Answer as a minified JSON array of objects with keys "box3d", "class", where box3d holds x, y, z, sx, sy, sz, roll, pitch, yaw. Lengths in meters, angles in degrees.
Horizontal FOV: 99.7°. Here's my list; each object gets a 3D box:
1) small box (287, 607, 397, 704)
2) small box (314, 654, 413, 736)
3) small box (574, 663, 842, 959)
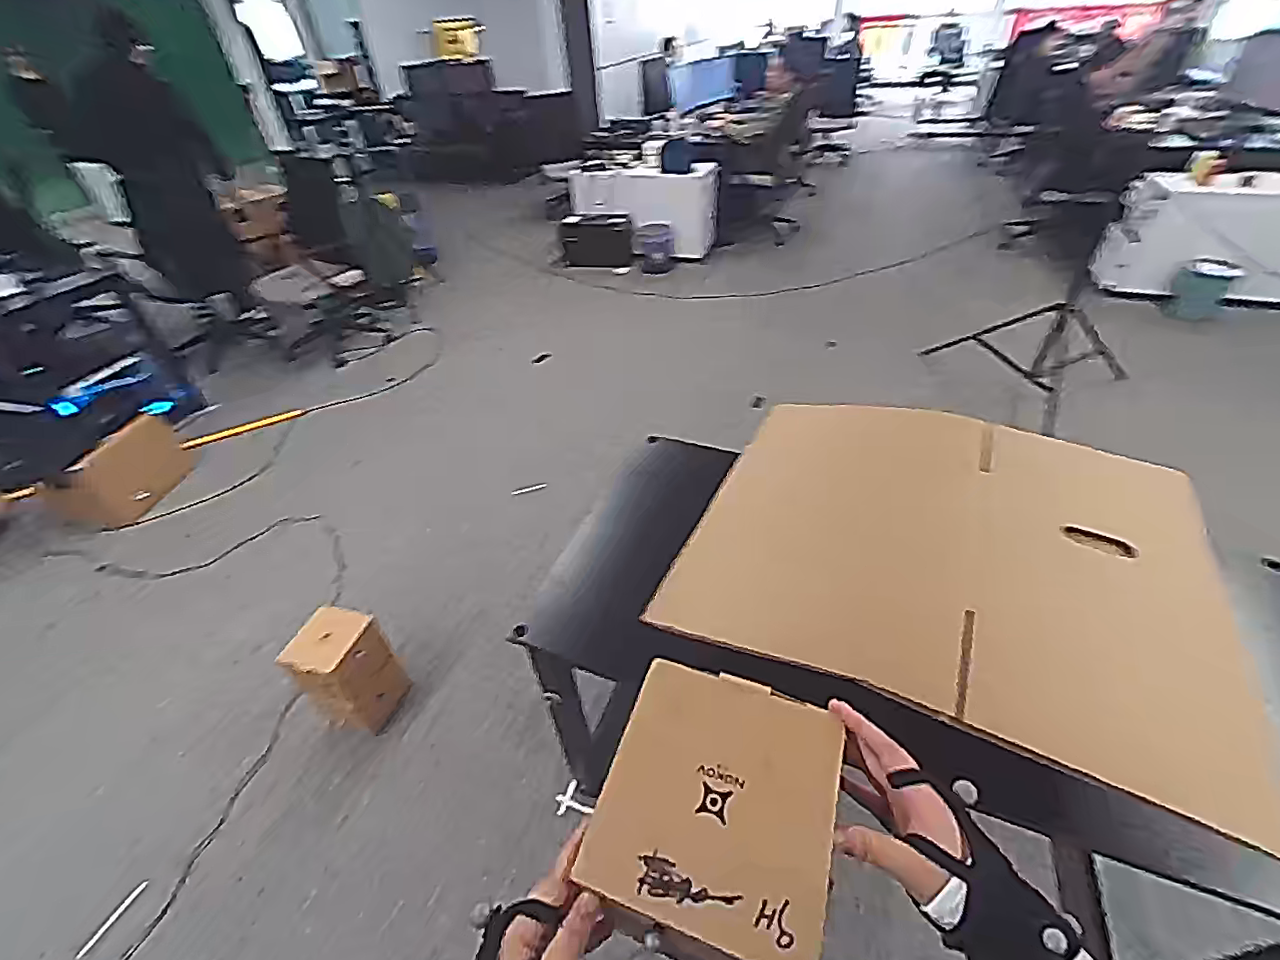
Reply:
[{"box3d":[-0.796,0.477,1.466,0.168,0.176,0.179,8,41,13],"class":"small box"},{"box3d":[-0.786,0.604,1.567,0.168,0.176,0.179,10,44,17],"class":"small box"},{"box3d":[0.064,0.293,0.455,0.168,0.176,0.179,10,44,19],"class":"small box"}]
